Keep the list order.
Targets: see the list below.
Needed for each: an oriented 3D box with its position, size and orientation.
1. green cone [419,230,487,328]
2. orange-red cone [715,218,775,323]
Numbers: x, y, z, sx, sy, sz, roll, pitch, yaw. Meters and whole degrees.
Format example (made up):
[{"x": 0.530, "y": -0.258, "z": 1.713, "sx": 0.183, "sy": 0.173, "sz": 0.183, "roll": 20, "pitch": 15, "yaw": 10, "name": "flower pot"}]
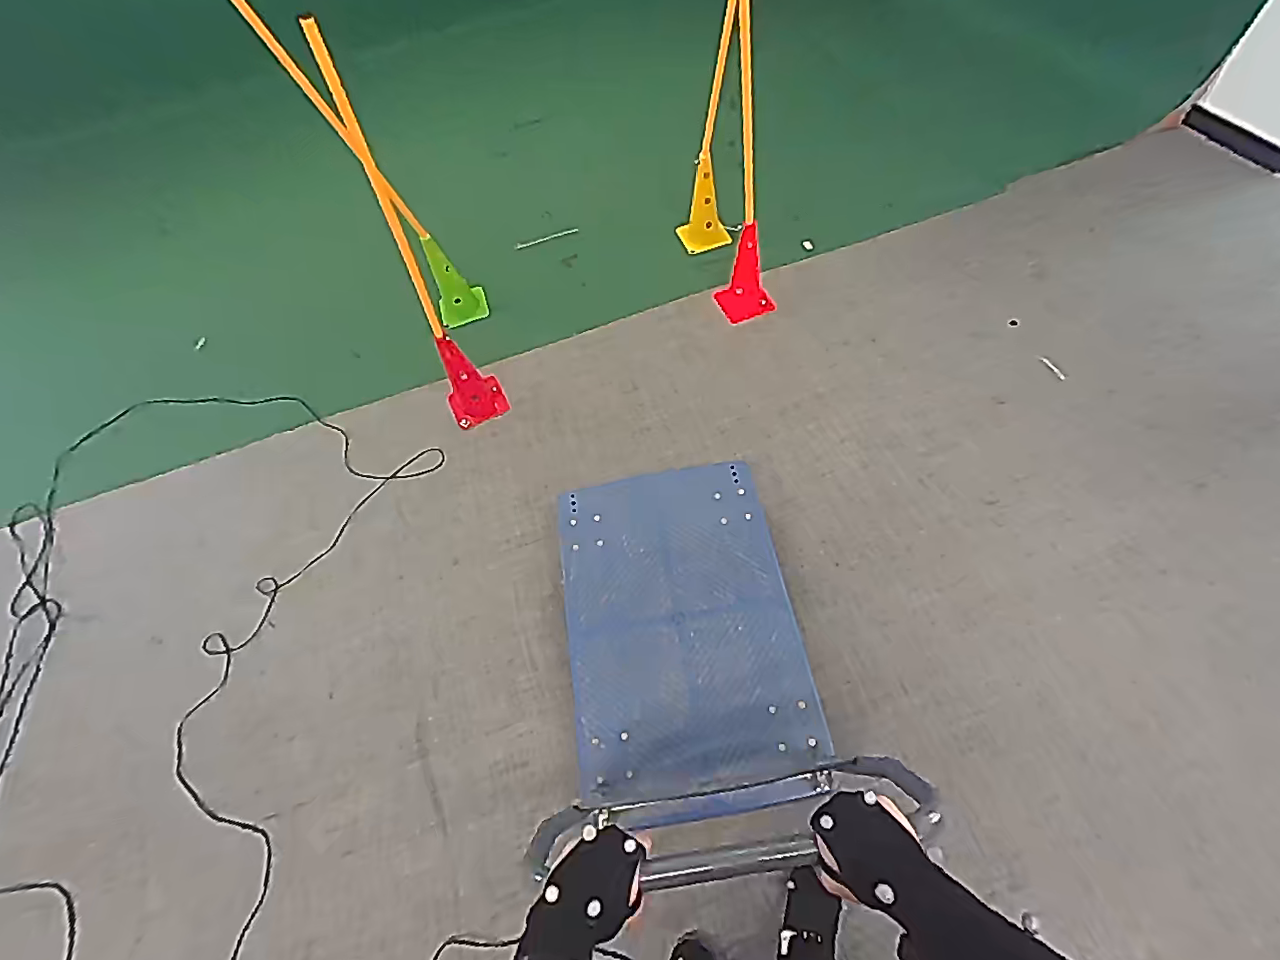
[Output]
[{"x": -0.783, "y": -0.829, "z": 2.173, "sx": 0.200, "sy": 0.368, "sz": 0.202, "roll": -20, "pitch": 58, "yaw": -4, "name": "green cone"}, {"x": 0.396, "y": -0.801, "z": 2.011, "sx": 0.198, "sy": 0.360, "sz": 0.199, "roll": -19, "pitch": 58, "yaw": -5, "name": "orange-red cone"}]
